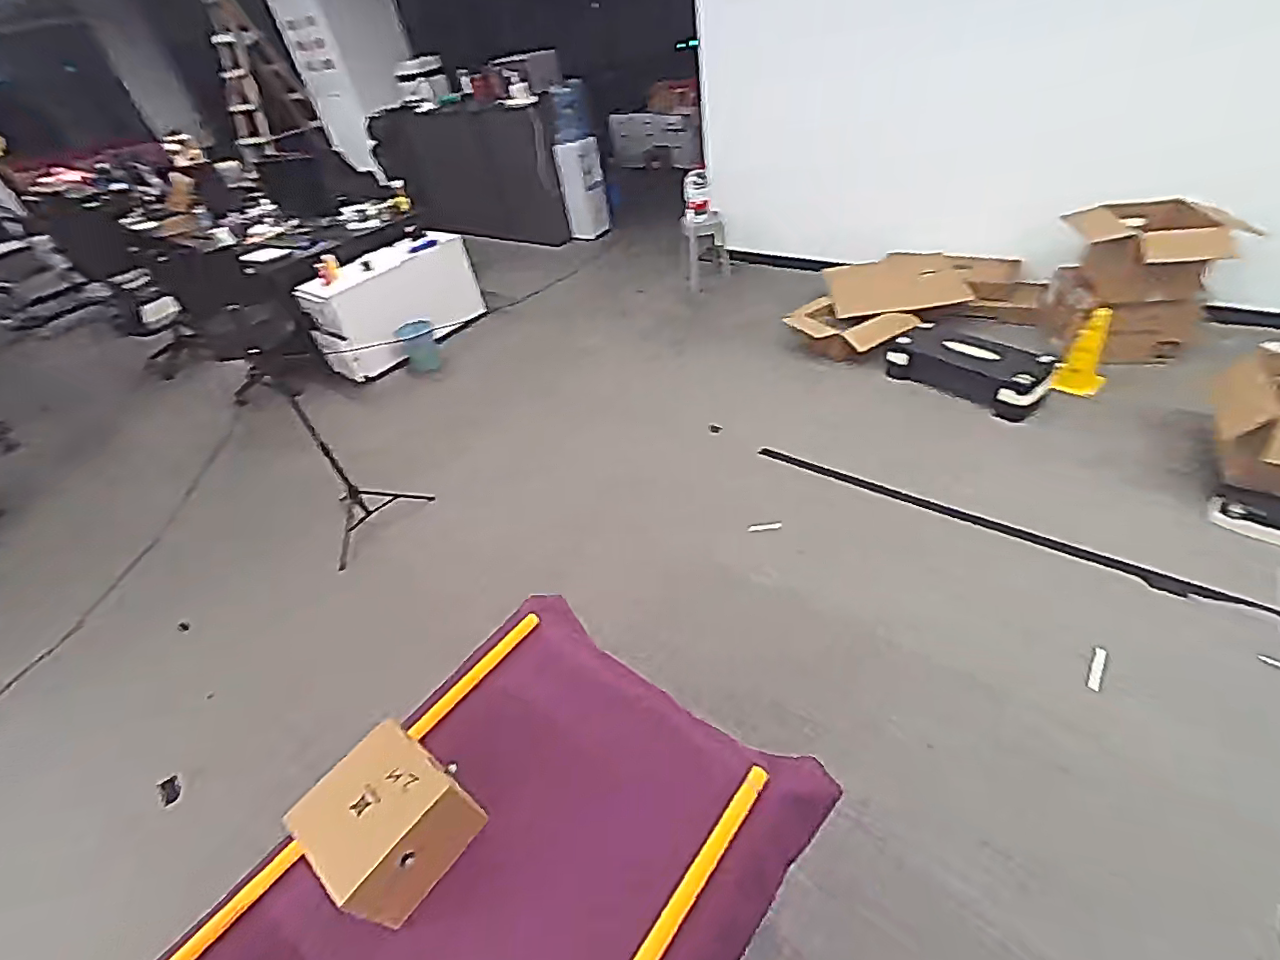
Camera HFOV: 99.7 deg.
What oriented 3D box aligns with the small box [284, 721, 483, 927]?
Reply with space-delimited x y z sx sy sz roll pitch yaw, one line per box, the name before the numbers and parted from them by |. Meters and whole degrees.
small box | -0.364 0.505 0.796 0.168 0.176 0.179 24 53 32
